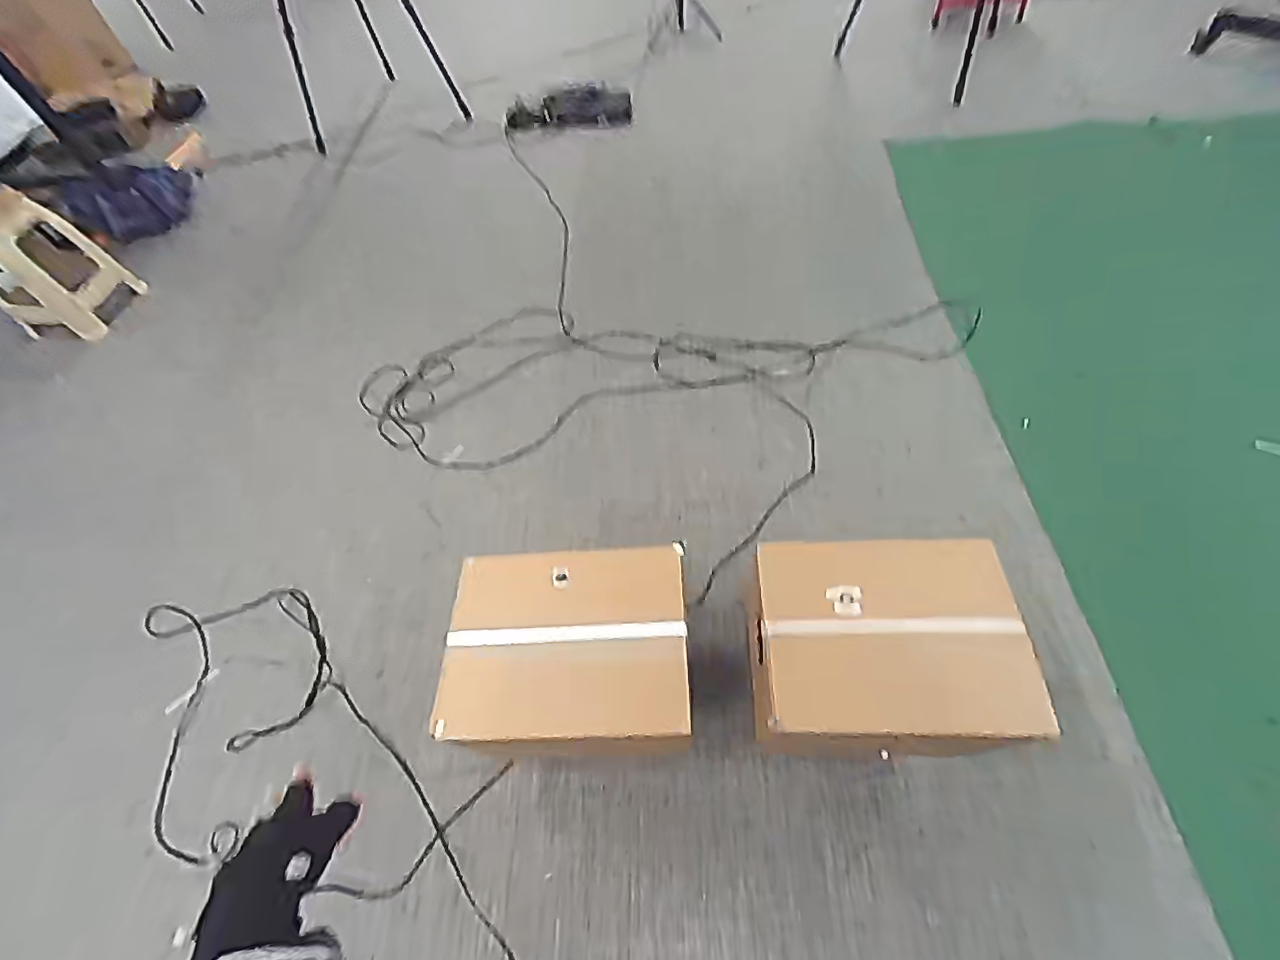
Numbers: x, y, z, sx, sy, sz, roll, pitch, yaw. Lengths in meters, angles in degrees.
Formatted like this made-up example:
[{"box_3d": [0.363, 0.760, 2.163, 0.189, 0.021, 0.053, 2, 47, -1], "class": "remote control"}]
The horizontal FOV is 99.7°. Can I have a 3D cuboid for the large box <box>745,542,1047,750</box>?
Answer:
[{"box_3d": [0.419, 0.324, 1.011, 0.408, 0.320, 0.320, -2, 57, 5], "class": "large box"}]
